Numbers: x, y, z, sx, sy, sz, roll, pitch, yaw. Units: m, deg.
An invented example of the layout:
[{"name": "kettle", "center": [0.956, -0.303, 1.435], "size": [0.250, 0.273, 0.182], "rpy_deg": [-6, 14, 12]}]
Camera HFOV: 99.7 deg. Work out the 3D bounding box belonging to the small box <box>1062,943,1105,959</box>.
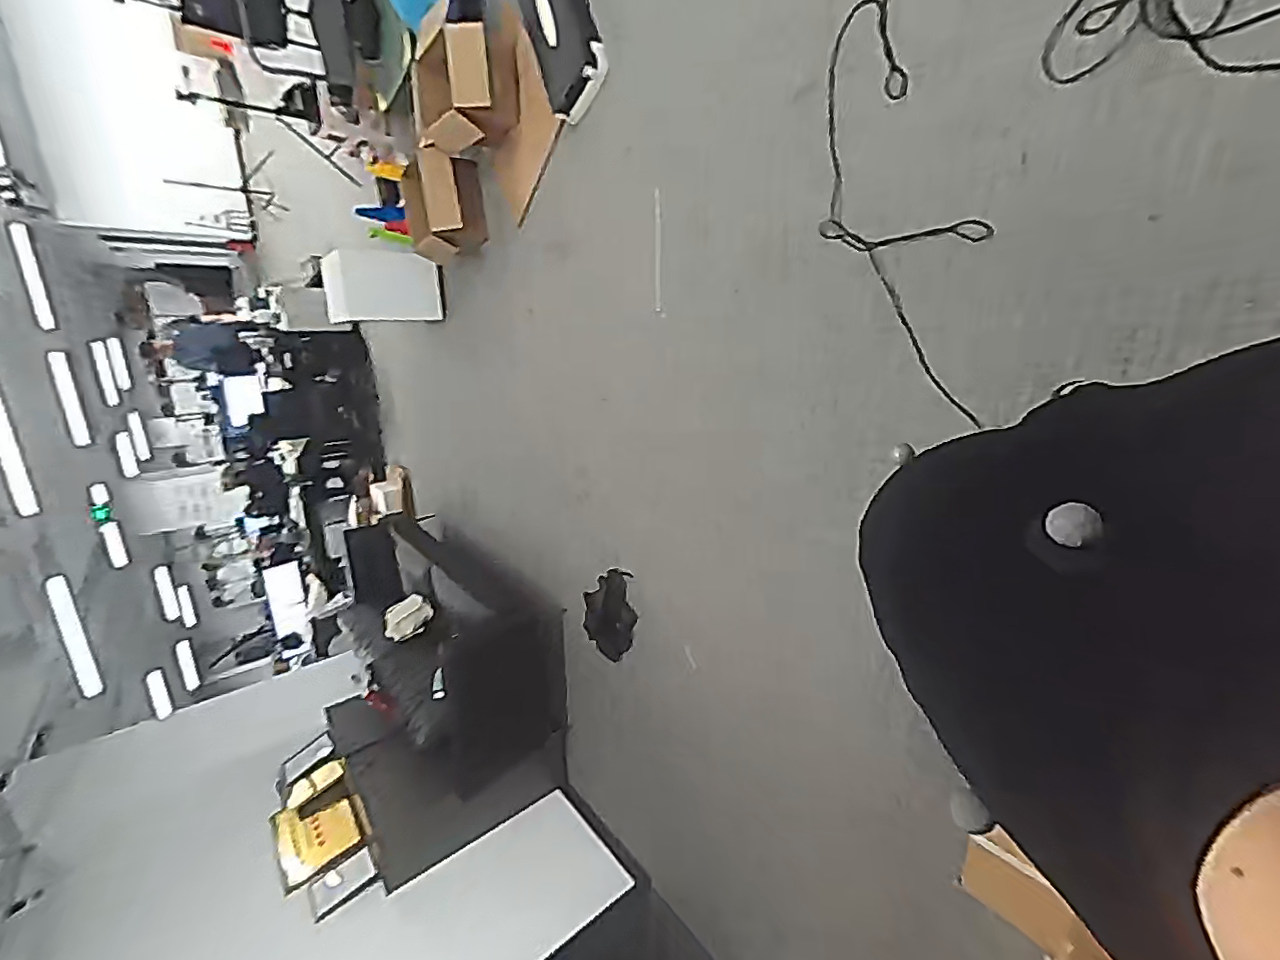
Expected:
[{"name": "small box", "center": [0.674, 0.847, 0.784], "size": [0.168, 0.176, 0.179], "rpy_deg": [27, 121, 46]}]
